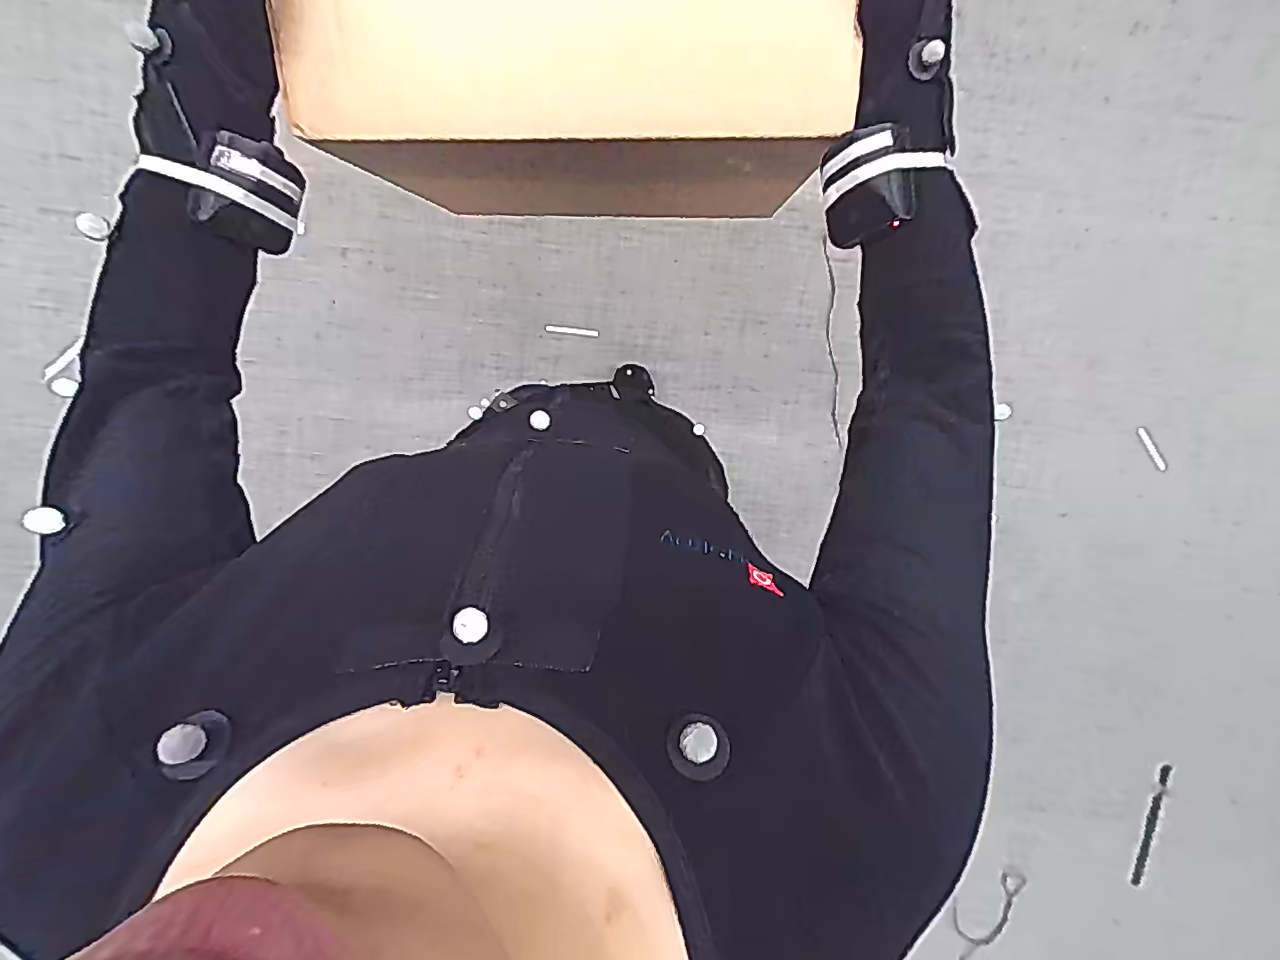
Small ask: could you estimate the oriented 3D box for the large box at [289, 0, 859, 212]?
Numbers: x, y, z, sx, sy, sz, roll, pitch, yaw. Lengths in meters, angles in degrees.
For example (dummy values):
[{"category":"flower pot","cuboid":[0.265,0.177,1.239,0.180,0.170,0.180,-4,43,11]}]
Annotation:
[{"category":"large box","cuboid":[-0.043,-0.446,0.494,0.408,0.320,0.320,1,107,3]}]
